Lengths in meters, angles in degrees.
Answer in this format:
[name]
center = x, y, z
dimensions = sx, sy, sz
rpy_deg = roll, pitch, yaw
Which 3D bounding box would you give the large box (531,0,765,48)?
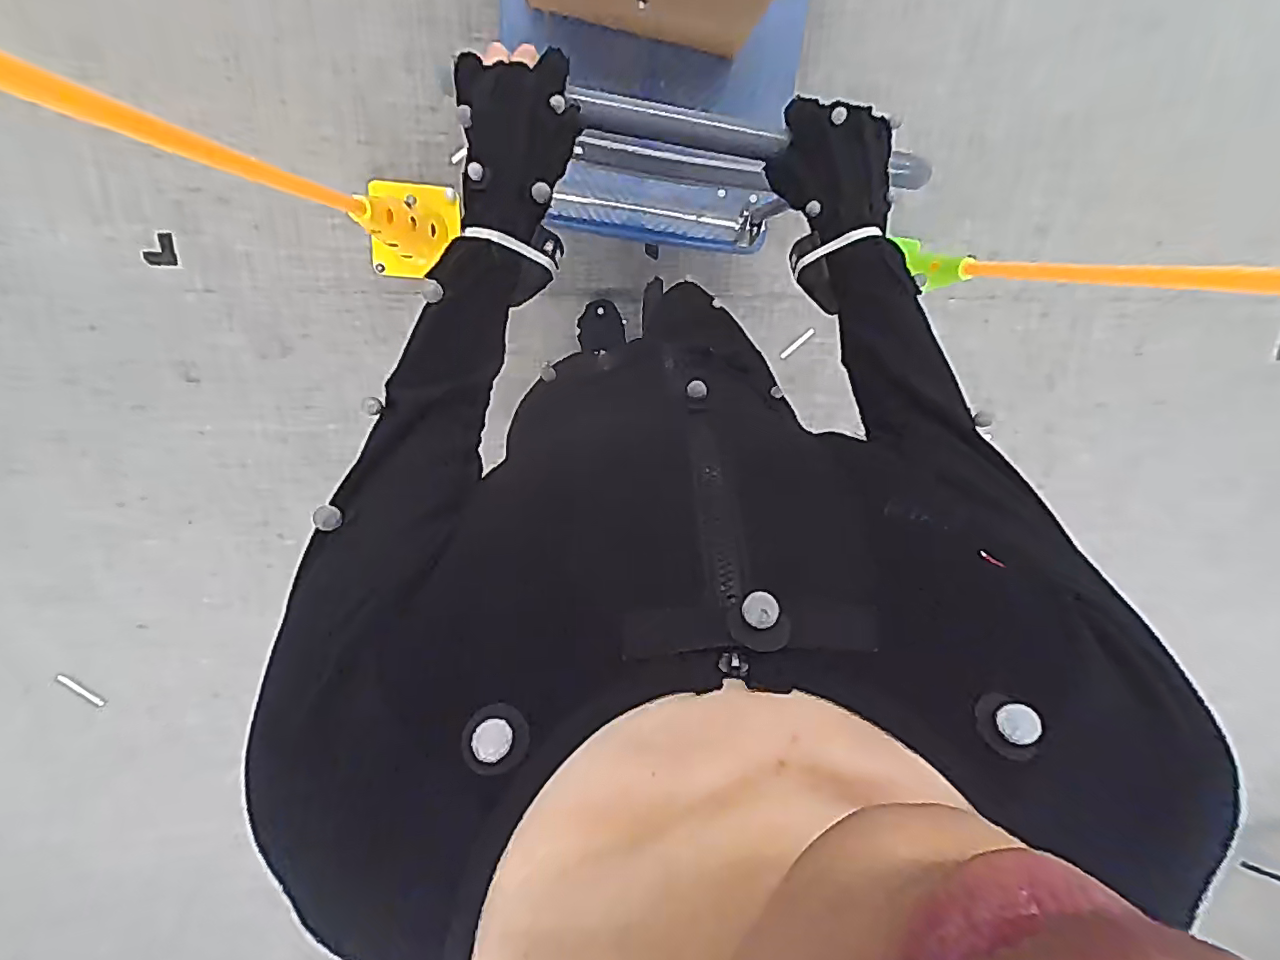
[large box]
center = 0.026, -0.950, 0.843
dimensions = 0.408, 0.320, 0.320
rpy_deg = 7, 108, -8

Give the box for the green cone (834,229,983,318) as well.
[green cone]
center = 0.624, -0.471, 1.221
dimensions = 0.202, 0.368, 0.200
rpy_deg = 3, 108, -8
